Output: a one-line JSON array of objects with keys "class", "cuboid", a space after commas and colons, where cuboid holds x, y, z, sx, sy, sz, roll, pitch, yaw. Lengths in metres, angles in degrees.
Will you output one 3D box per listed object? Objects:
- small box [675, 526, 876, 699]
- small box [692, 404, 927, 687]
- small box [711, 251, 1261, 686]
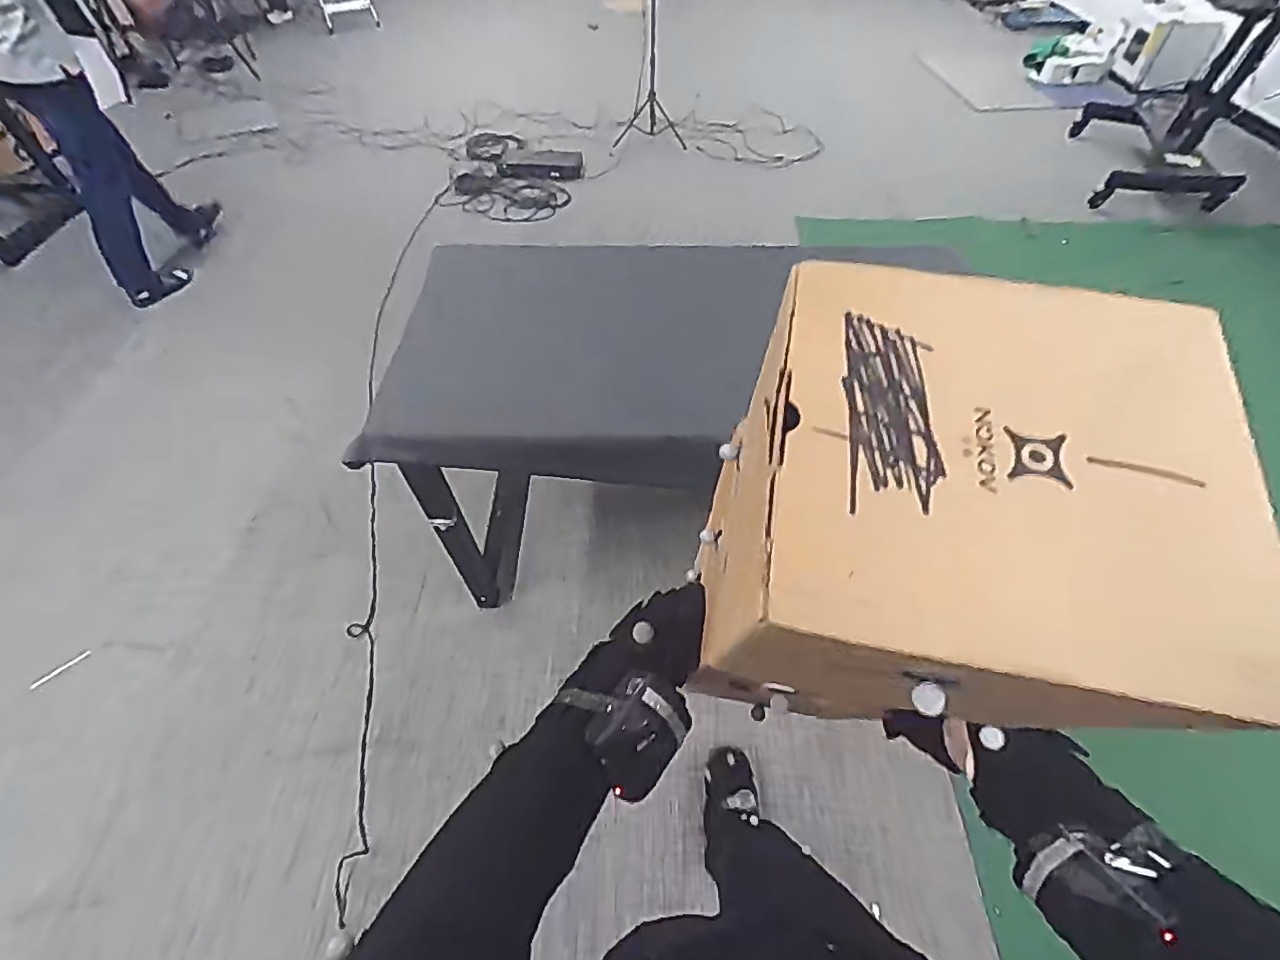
[{"class": "small box", "cuboid": [0.141, 0.137, 0.594, 0.179, 0.176, 0.168, 10, 67, 4]}, {"class": "small box", "cuboid": [0.138, 0.064, 0.447, 0.168, 0.176, 0.179, 9, 68, 5]}, {"class": "small box", "cuboid": [0.139, 0.010, 0.292, 0.179, 0.176, 0.168, 10, 68, 5]}]
